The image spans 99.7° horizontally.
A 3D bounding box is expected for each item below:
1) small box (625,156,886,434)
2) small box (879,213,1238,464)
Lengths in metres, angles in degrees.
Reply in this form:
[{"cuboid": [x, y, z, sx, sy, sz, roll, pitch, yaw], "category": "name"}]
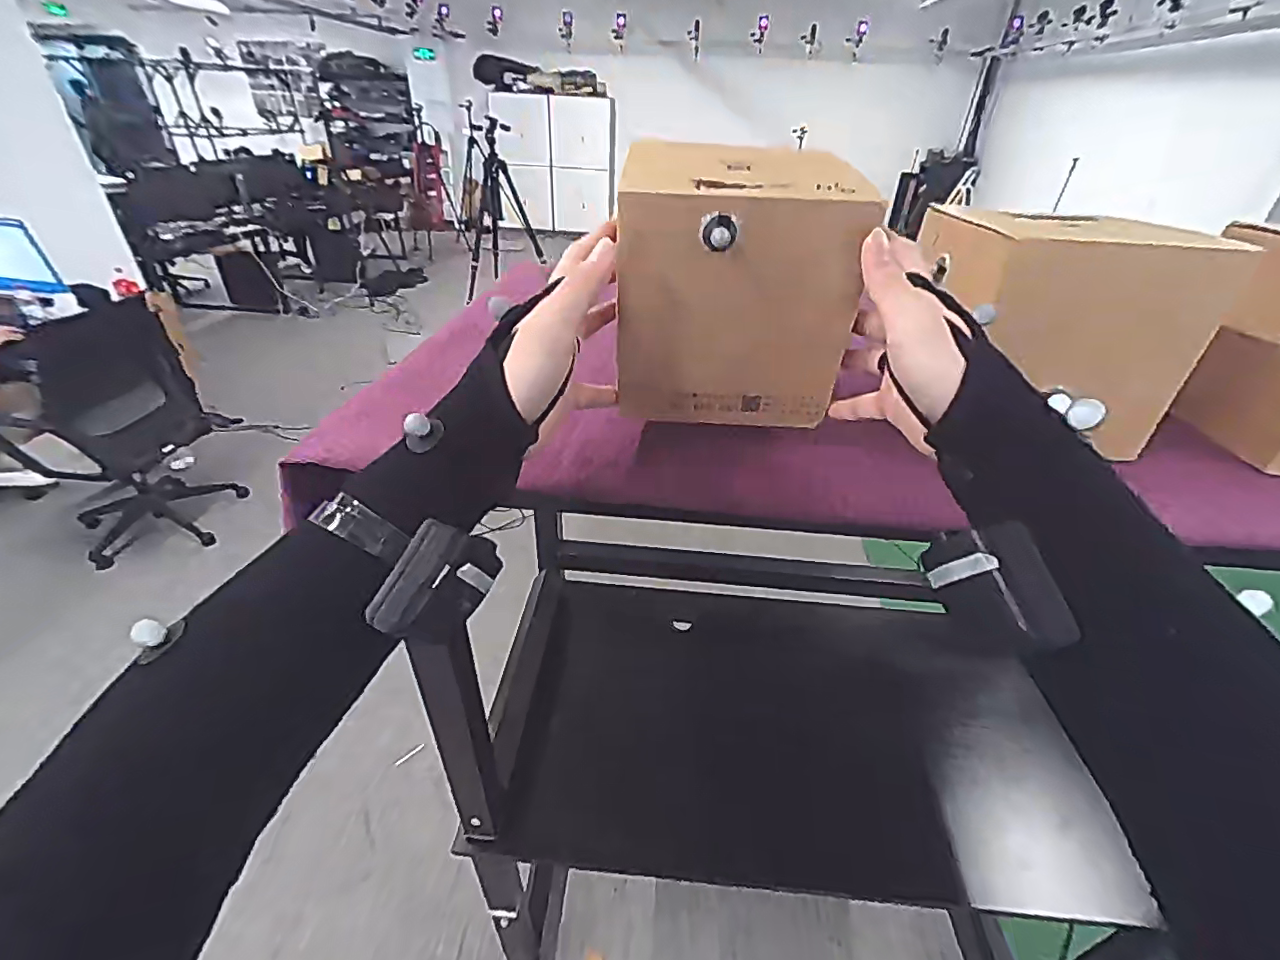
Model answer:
[{"cuboid": [0.075, -0.159, 0.457, 0.168, 0.176, 0.179, 3, 40, 0], "category": "small box"}, {"cuboid": [0.340, -0.134, 0.494, 0.168, 0.176, 0.179, 5, 34, 3], "category": "small box"}]
